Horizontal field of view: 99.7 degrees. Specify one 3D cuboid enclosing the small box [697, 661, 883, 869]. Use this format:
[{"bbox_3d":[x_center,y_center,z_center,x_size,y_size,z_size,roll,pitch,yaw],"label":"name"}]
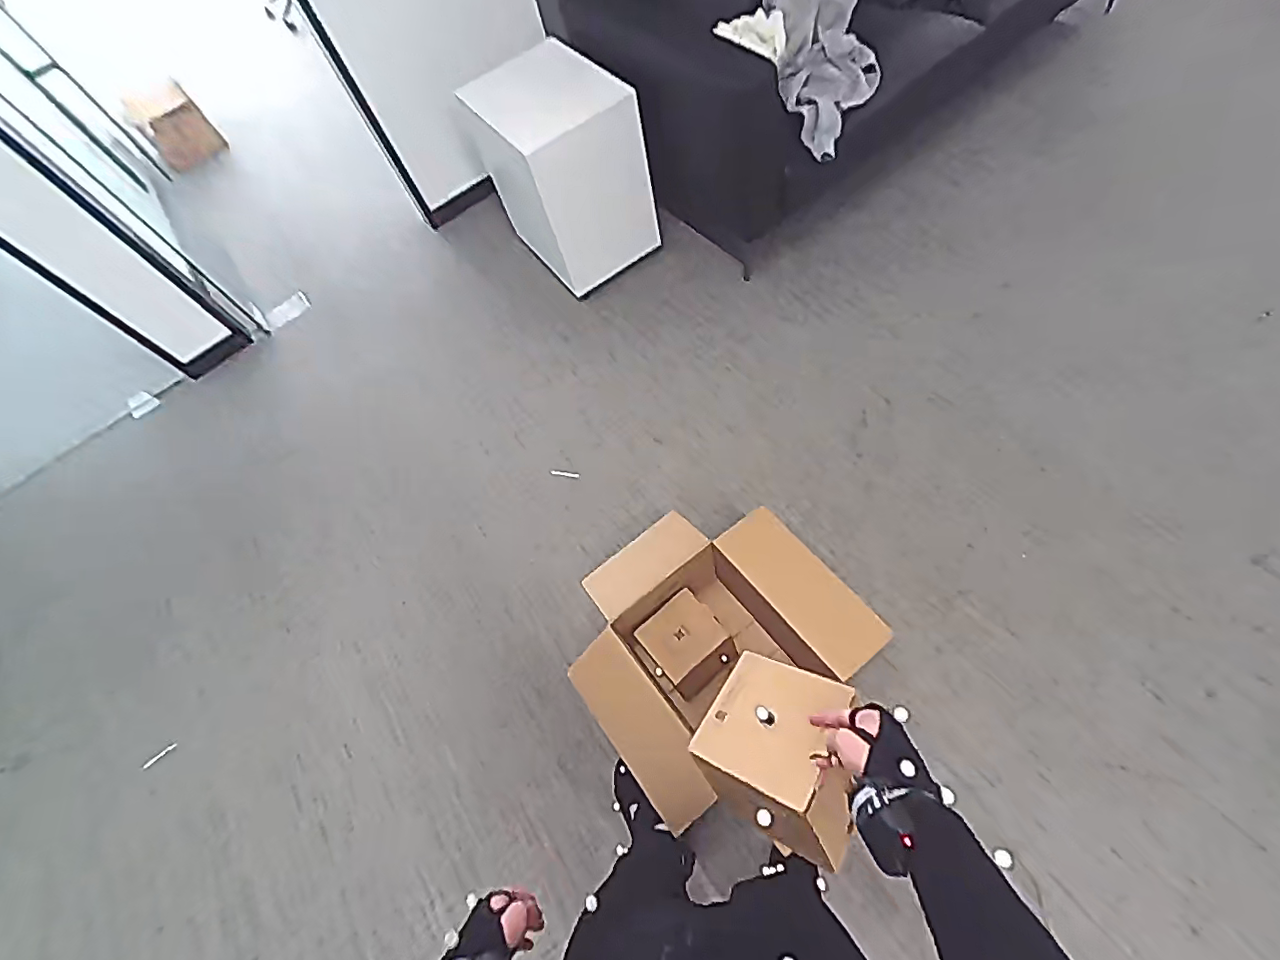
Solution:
[{"bbox_3d":[0.202,0.368,0.730,0.176,0.179,0.168,4,45,44],"label":"small box"}]
